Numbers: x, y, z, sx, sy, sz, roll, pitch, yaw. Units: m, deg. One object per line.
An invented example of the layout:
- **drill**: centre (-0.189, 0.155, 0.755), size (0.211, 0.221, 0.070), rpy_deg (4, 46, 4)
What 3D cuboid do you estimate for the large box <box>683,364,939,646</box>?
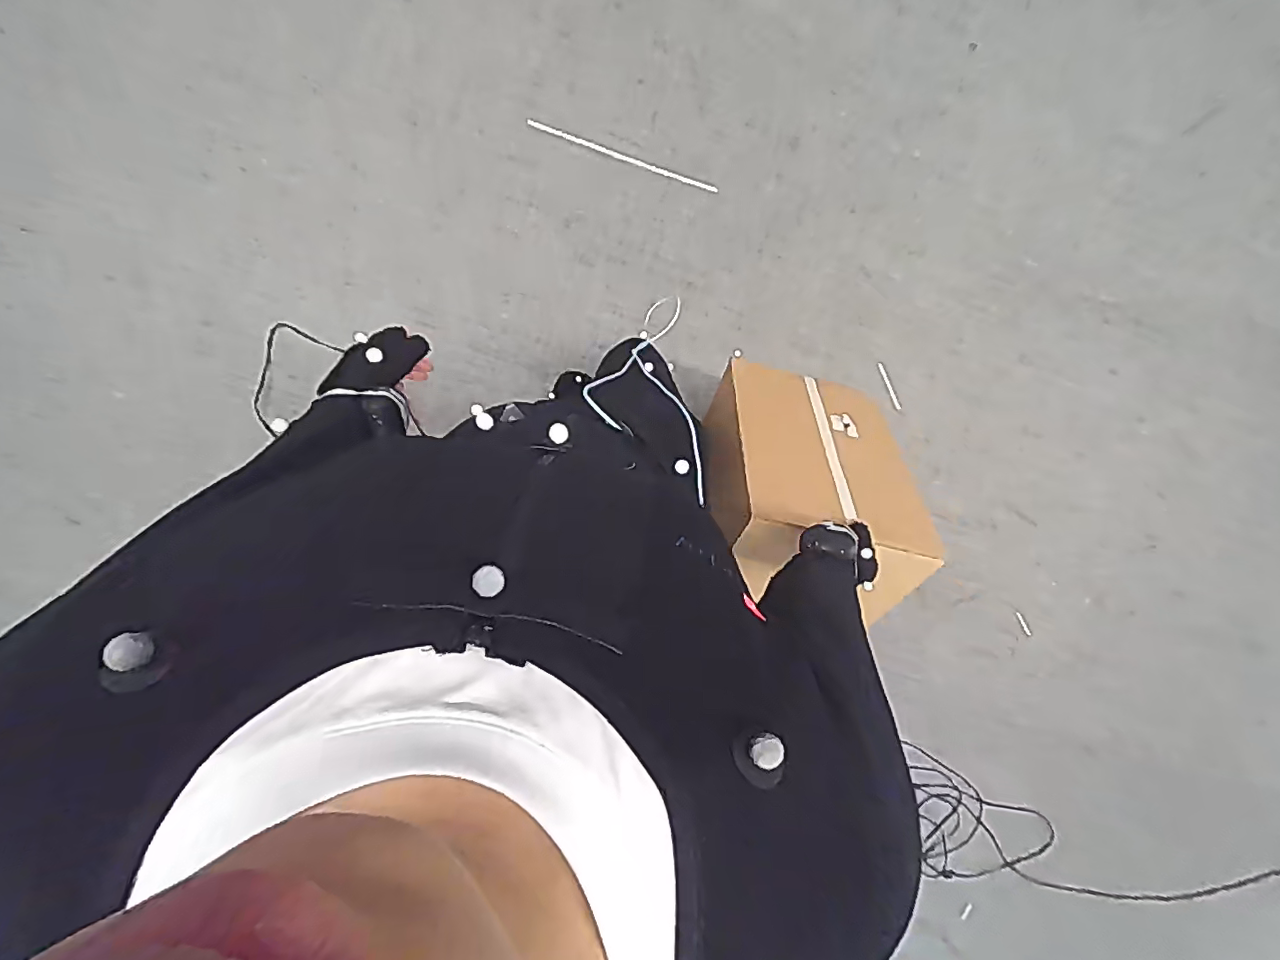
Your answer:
- **large box**: centre (0.273, 0.048, 1.027), size (0.320, 0.408, 0.320), rpy_deg (14, 134, -10)
